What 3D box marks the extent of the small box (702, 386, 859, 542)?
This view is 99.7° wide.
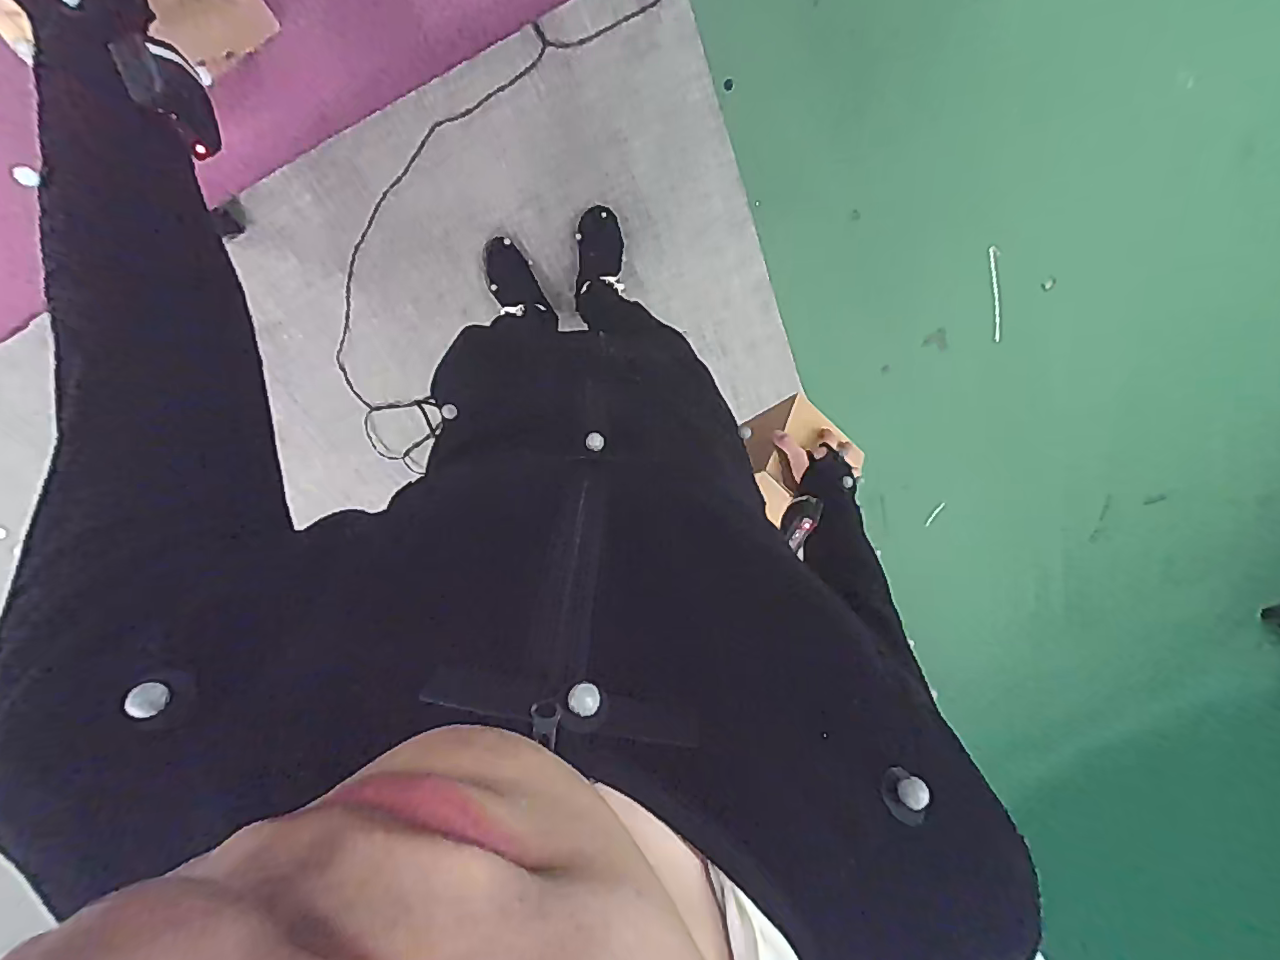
[{"bbox_3d":[0.229,-0.018,0.908,0.168,0.179,0.176,39,148,-14],"label":"small box"}]

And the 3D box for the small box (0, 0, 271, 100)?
[{"bbox_3d":[-0.485,-0.477,0.477,0.168,0.176,0.179,-30,121,6],"label":"small box"}]
